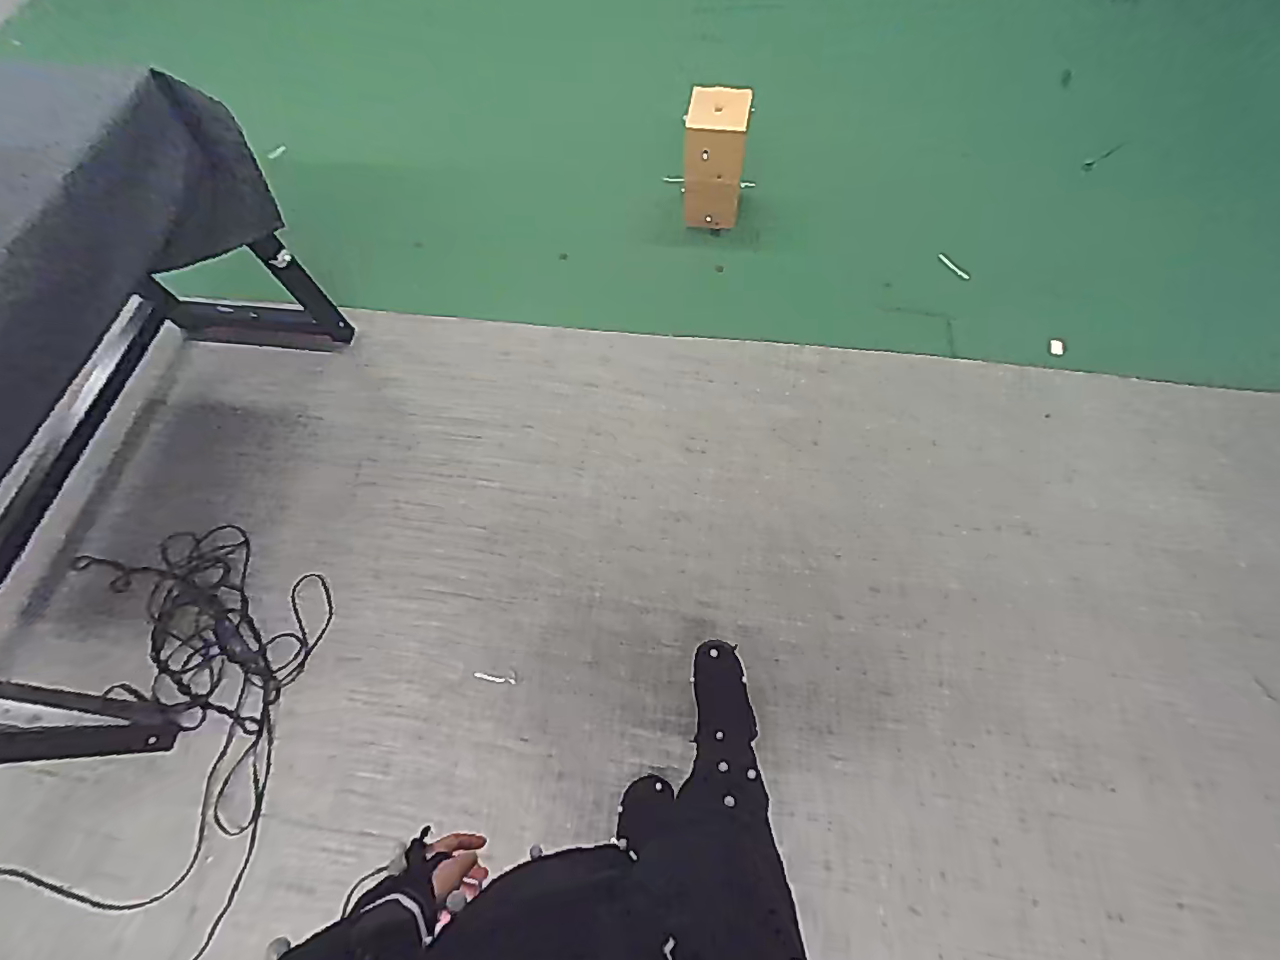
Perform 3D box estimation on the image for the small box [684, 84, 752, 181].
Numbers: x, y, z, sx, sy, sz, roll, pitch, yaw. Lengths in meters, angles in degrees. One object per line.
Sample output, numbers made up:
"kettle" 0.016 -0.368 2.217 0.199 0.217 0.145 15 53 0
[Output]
"small box" 0.221 -0.987 1.543 0.168 0.176 0.179 8 67 7
